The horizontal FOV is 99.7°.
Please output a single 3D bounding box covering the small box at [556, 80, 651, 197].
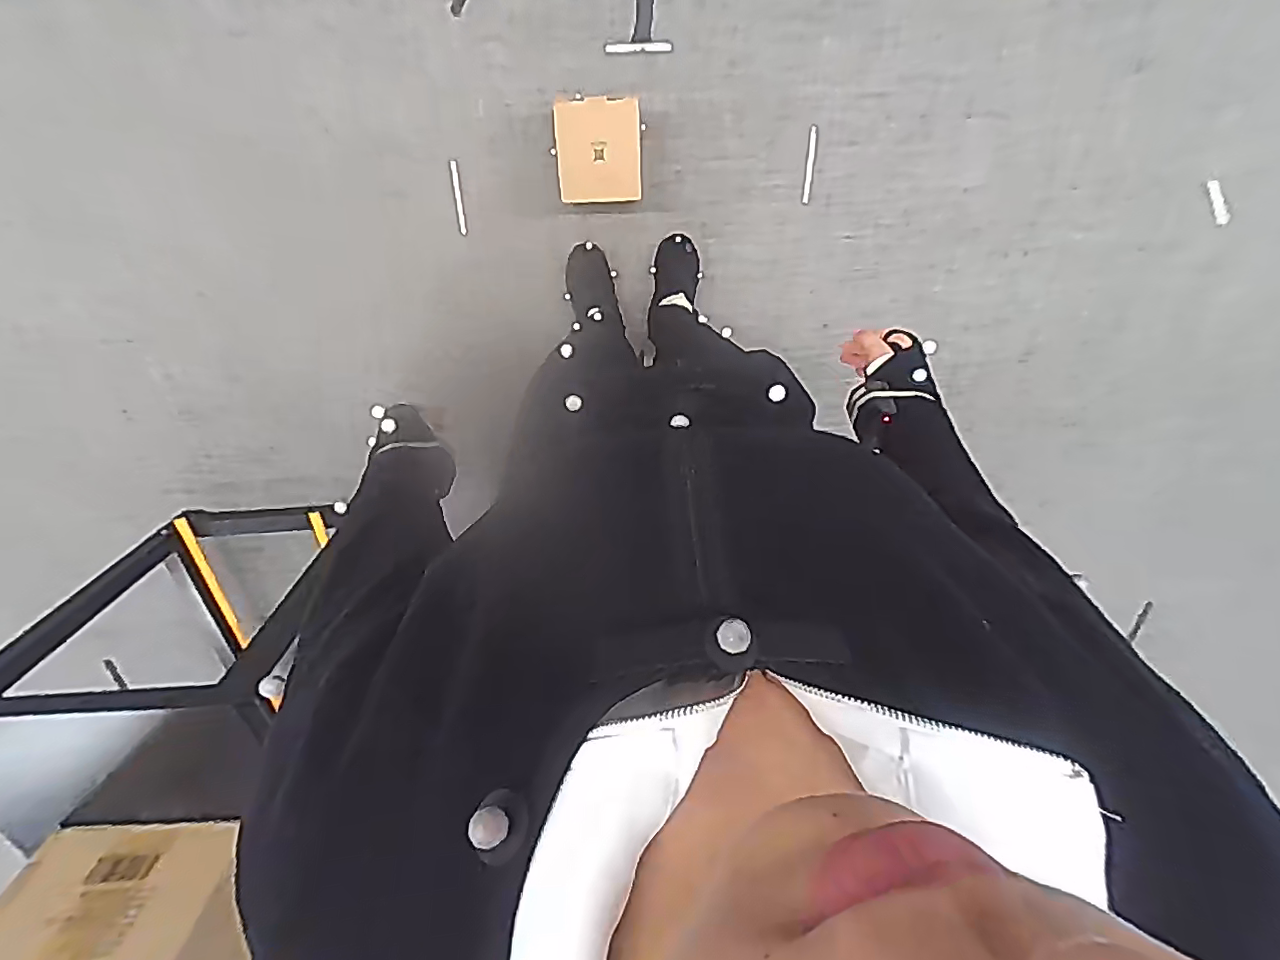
[{"bbox_3d":[-0.067,-0.651,1.044,0.168,0.176,0.179,-3,121,-1],"label":"small box"}]
